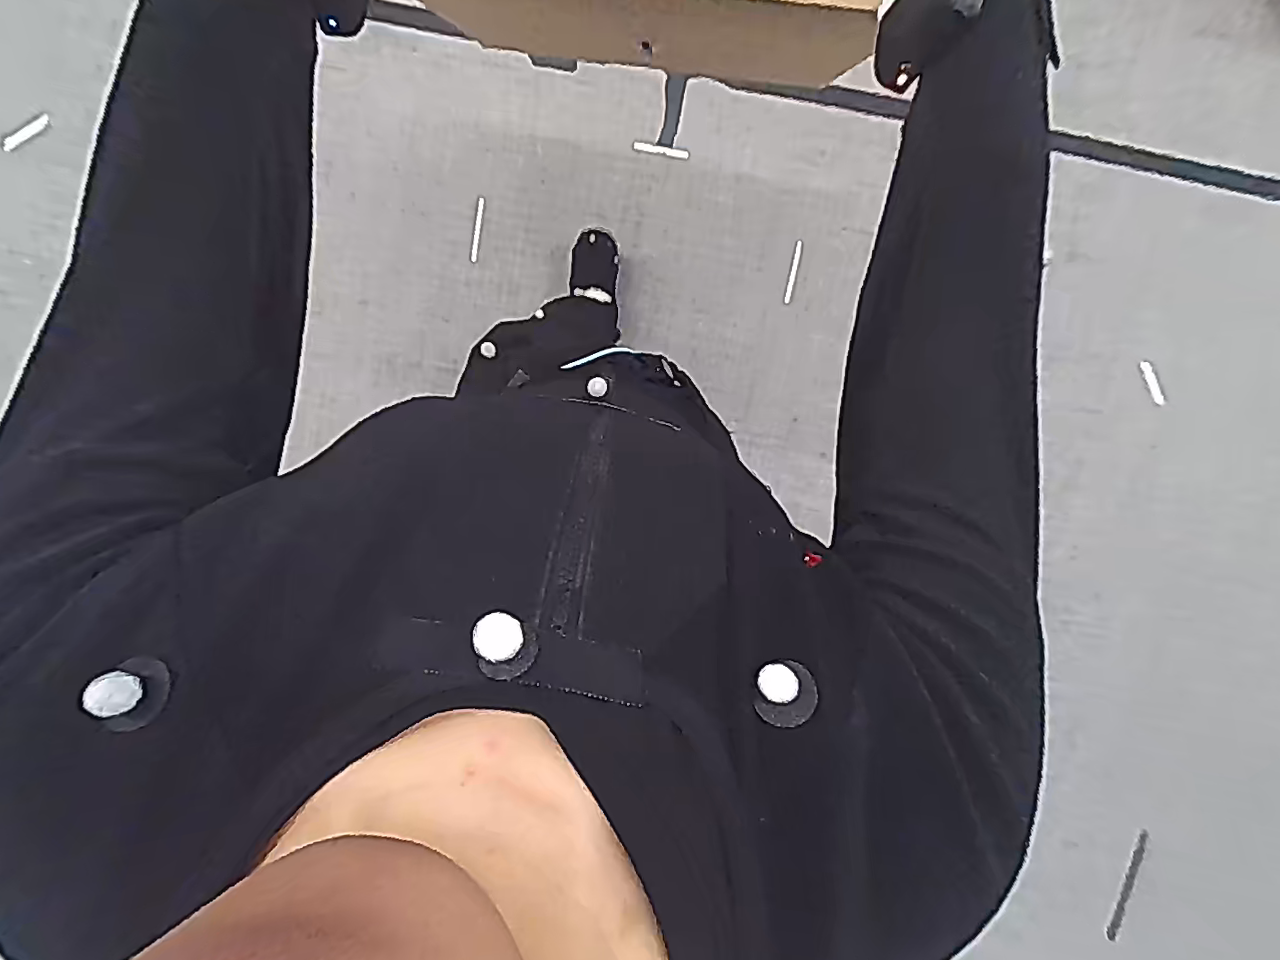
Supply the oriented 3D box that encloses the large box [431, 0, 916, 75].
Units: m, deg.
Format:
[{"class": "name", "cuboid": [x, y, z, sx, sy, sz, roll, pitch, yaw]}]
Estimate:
[{"class": "large box", "cuboid": [0.023, -0.555, 0.438, 0.408, 0.320, 0.320, 7, 118, 0]}]
